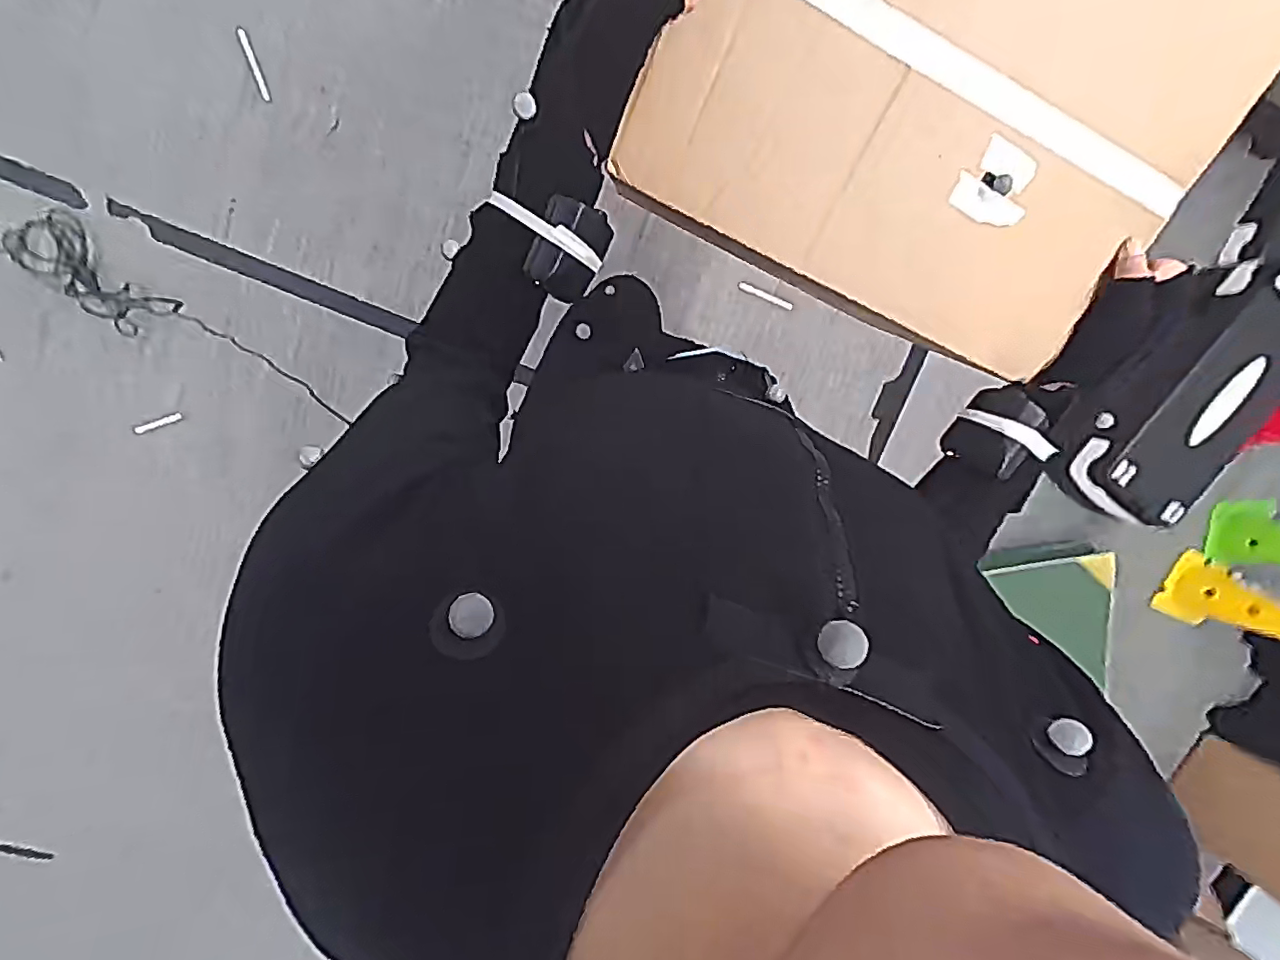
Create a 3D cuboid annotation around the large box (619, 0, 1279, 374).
[{"bbox_3d":[0.217,-0.351,0.522,0.408,0.320,0.320,22,114,-11],"label":"large box"}]
